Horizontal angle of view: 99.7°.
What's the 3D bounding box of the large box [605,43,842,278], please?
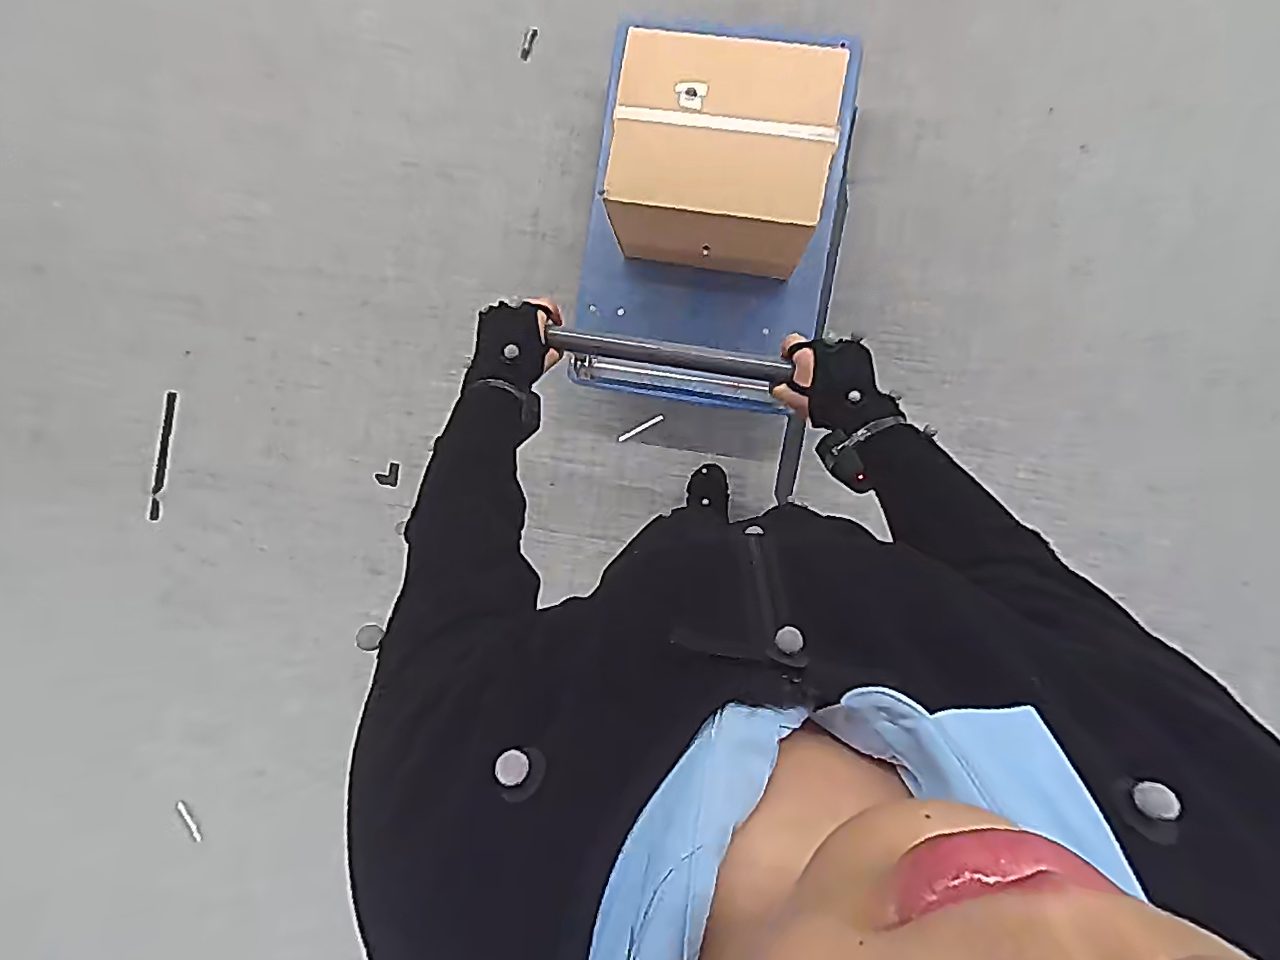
[{"bbox_3d":[0.169,-0.649,1.150,0.408,0.320,0.320,10,93,7],"label":"large box"}]
